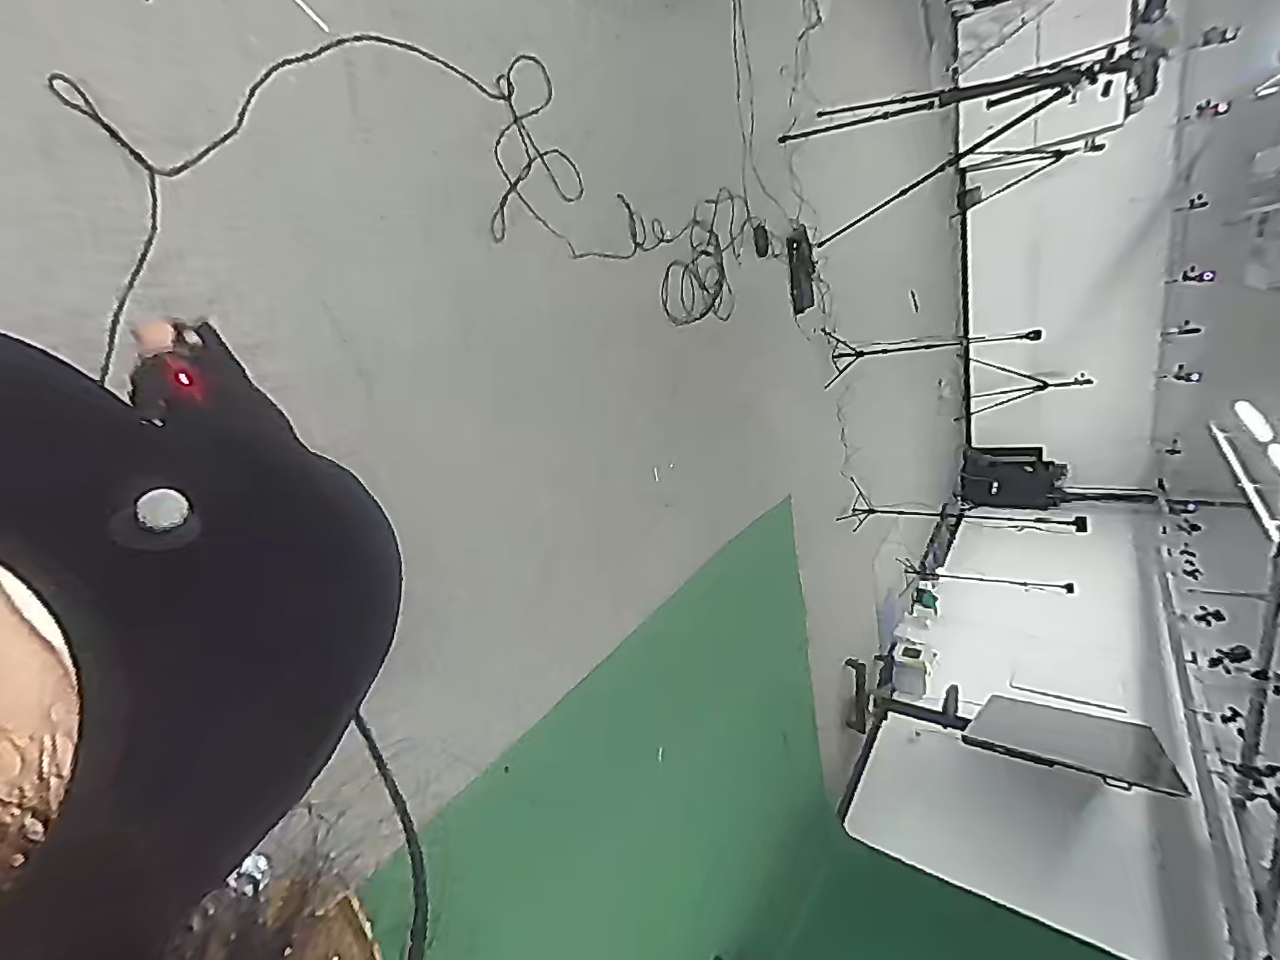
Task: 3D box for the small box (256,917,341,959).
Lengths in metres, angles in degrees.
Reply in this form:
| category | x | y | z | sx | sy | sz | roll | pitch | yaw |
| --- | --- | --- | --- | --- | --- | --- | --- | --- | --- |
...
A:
| category | x | y | z | sx | sy | sz | roll | pitch | yaw |
| --- | --- | --- | --- | --- | --- | --- | --- | --- | --- |
| small box | -0.796 | 1.197 | 1.277 | 0.168 | 0.176 | 0.179 | -32 | 116 | -46 |
